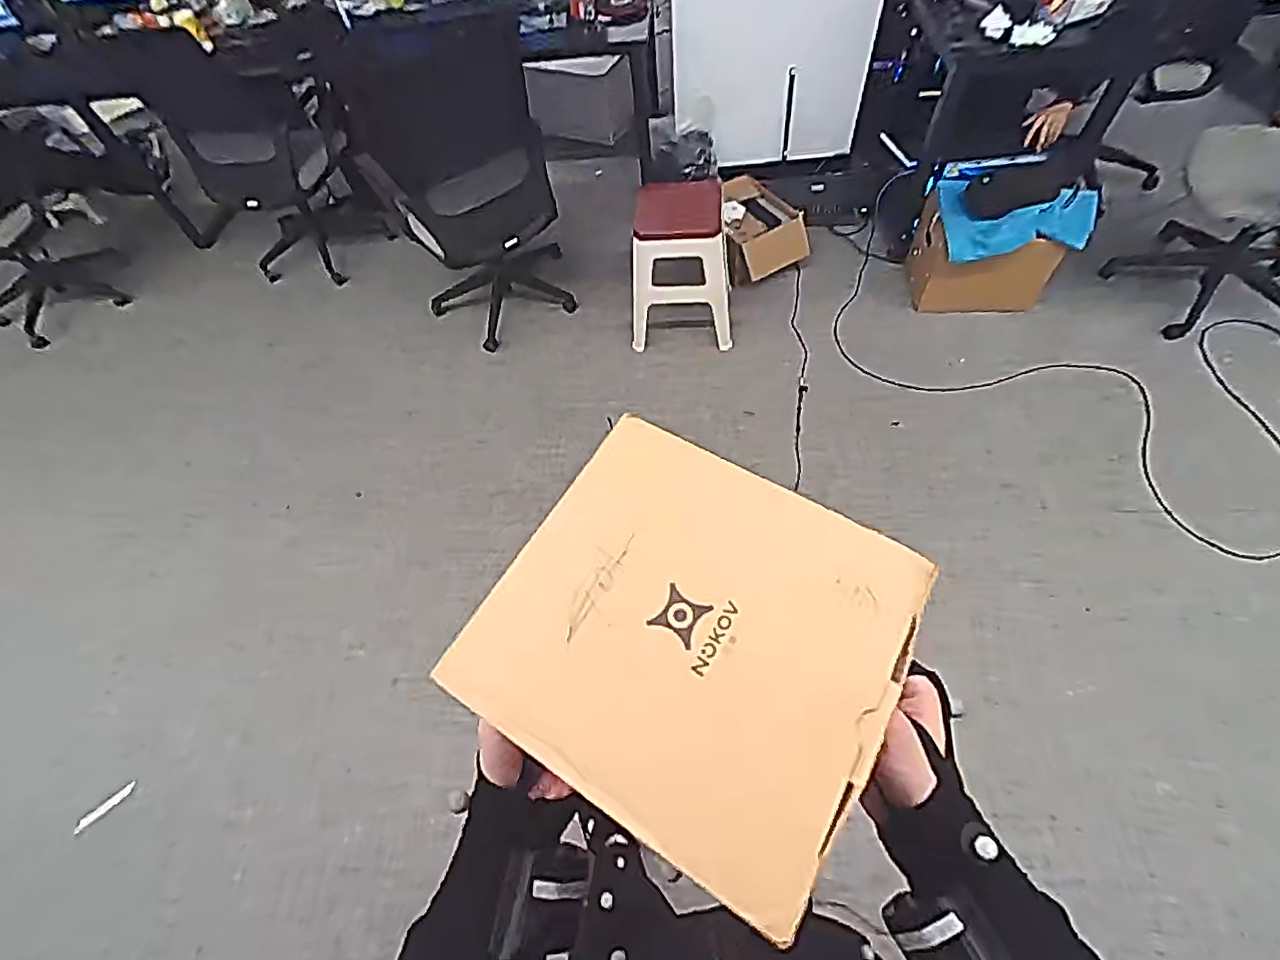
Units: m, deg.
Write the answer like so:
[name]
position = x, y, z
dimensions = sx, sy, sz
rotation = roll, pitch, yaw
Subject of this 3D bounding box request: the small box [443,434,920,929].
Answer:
[small box]
position = 0.028, 0.108, 0.326
dimensions = 0.179, 0.176, 0.168
rotation = 26, 66, 19
